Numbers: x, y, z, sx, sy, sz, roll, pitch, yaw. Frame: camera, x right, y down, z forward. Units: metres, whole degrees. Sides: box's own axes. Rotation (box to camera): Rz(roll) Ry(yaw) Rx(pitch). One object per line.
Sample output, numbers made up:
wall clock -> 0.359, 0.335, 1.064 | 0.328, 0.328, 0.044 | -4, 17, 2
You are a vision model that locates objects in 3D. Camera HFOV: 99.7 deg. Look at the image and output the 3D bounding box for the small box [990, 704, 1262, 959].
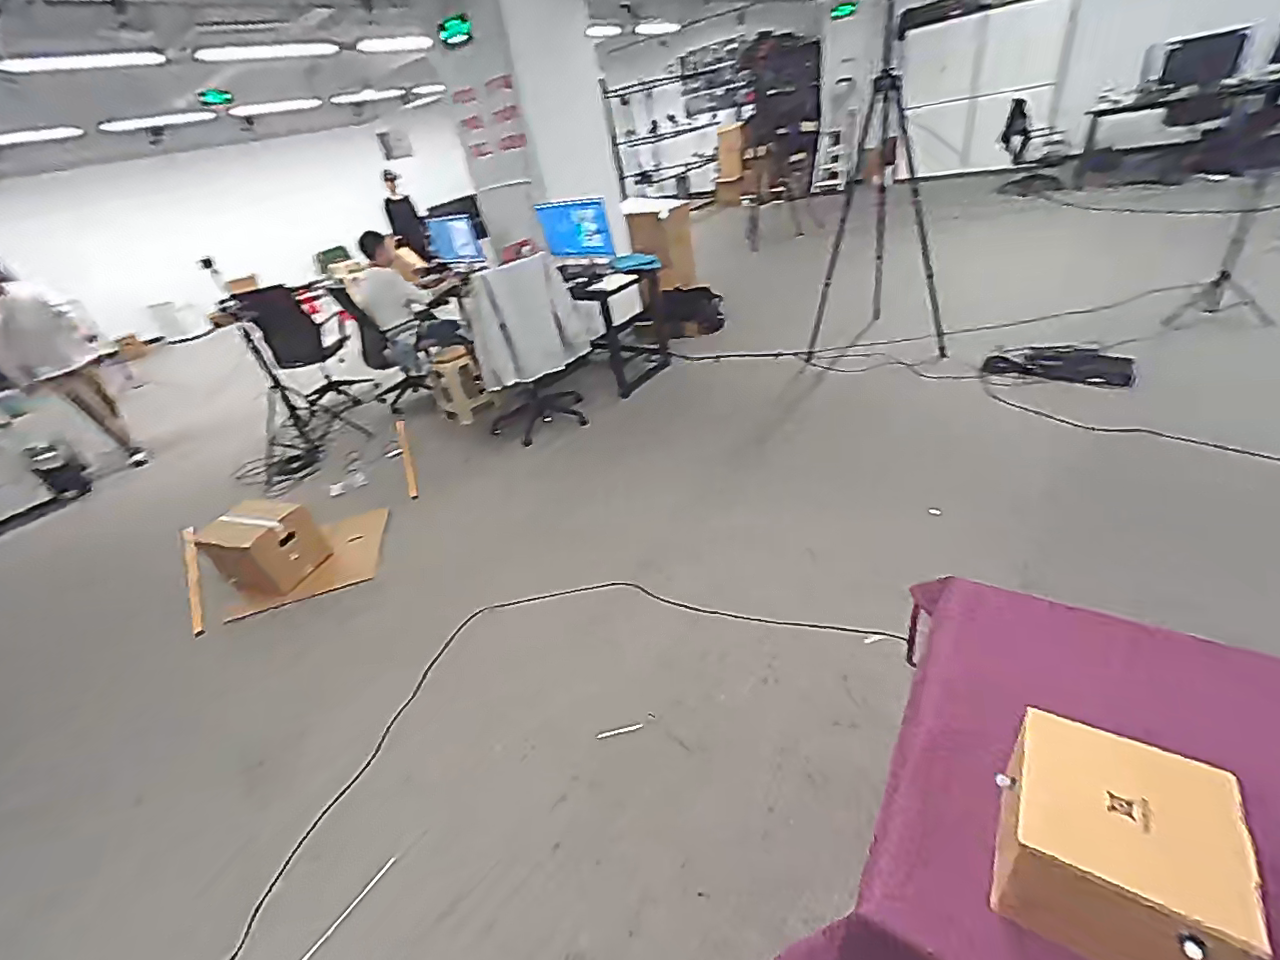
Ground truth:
small box -> 0.494, 0.386, 0.580 | 0.179, 0.176, 0.168 | 12, 40, 32
